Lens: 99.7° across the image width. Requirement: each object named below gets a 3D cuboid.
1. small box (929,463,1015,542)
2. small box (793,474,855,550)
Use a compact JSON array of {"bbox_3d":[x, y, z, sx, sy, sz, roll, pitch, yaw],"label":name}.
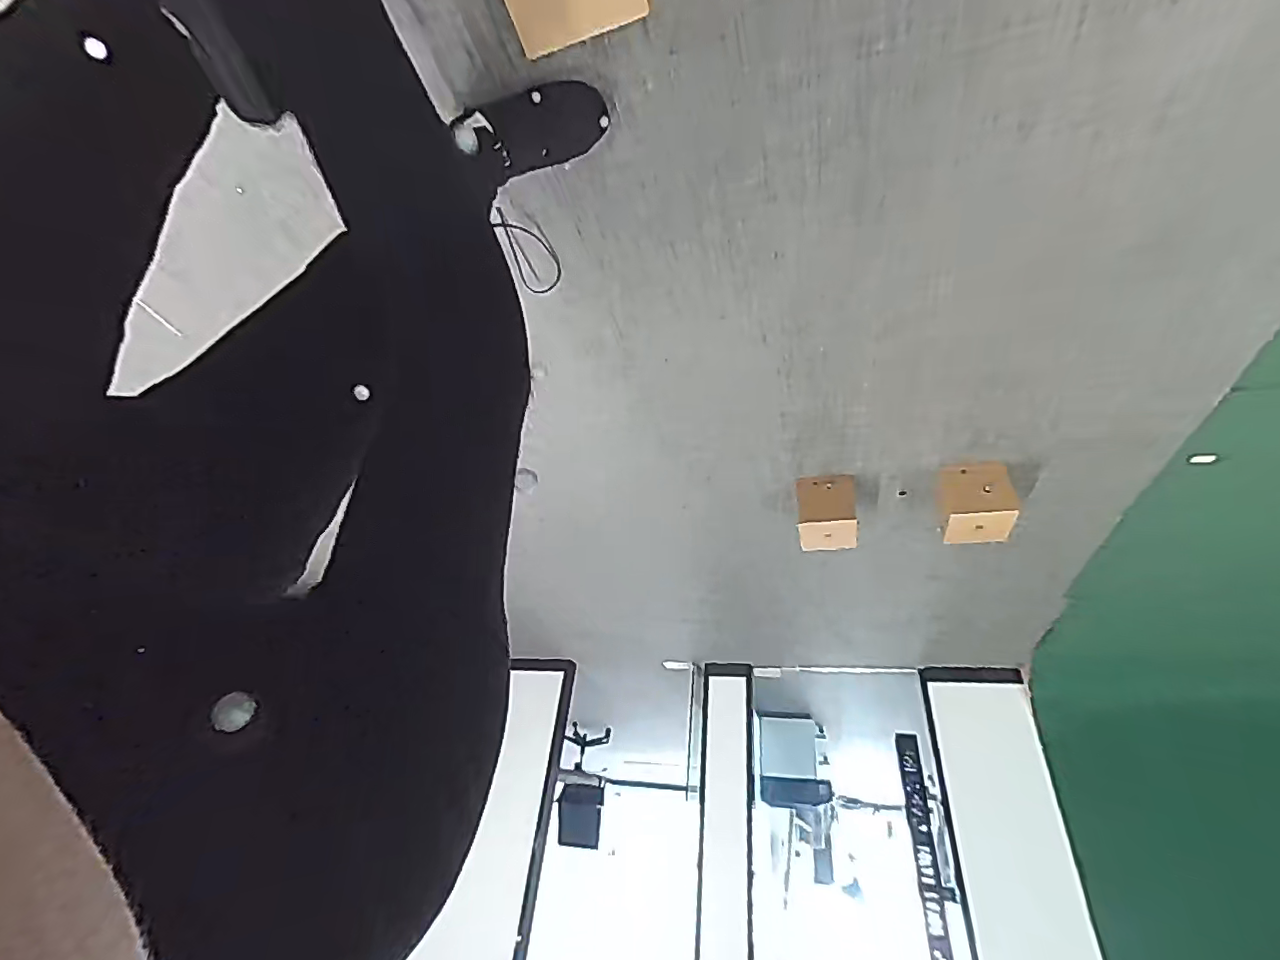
[{"bbox_3d":[0.952,0.062,1.569,0.168,0.176,0.179,-6,145,17],"label":"small box"},{"bbox_3d":[0.572,0.102,1.689,0.168,0.176,0.179,-6,143,17],"label":"small box"}]
